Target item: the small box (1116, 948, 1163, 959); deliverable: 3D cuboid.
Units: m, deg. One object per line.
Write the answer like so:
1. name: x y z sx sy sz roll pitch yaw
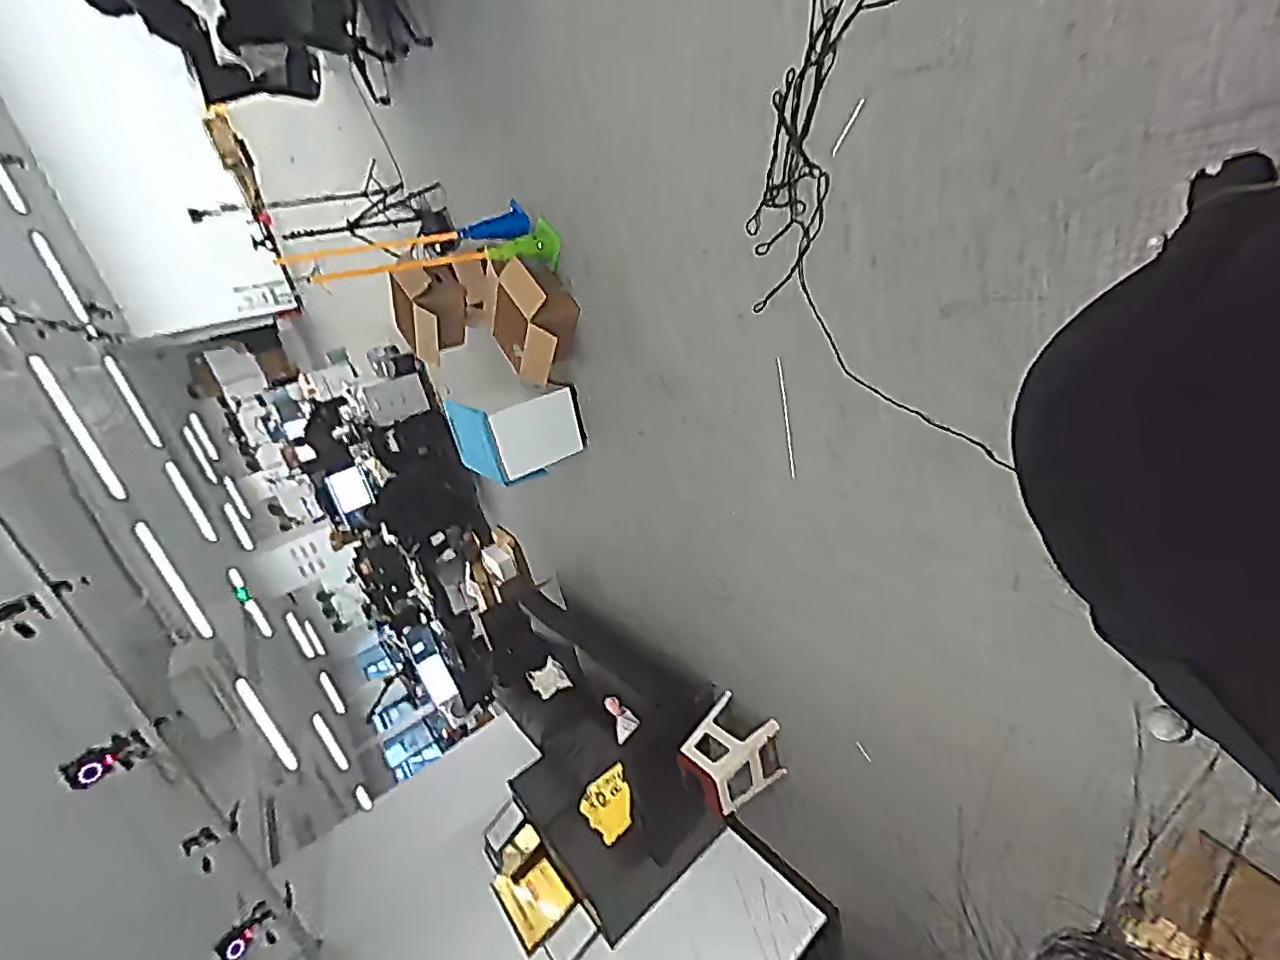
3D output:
1. small box: 1.241 1.290 1.301 0.168 0.176 0.179 37 141 38
